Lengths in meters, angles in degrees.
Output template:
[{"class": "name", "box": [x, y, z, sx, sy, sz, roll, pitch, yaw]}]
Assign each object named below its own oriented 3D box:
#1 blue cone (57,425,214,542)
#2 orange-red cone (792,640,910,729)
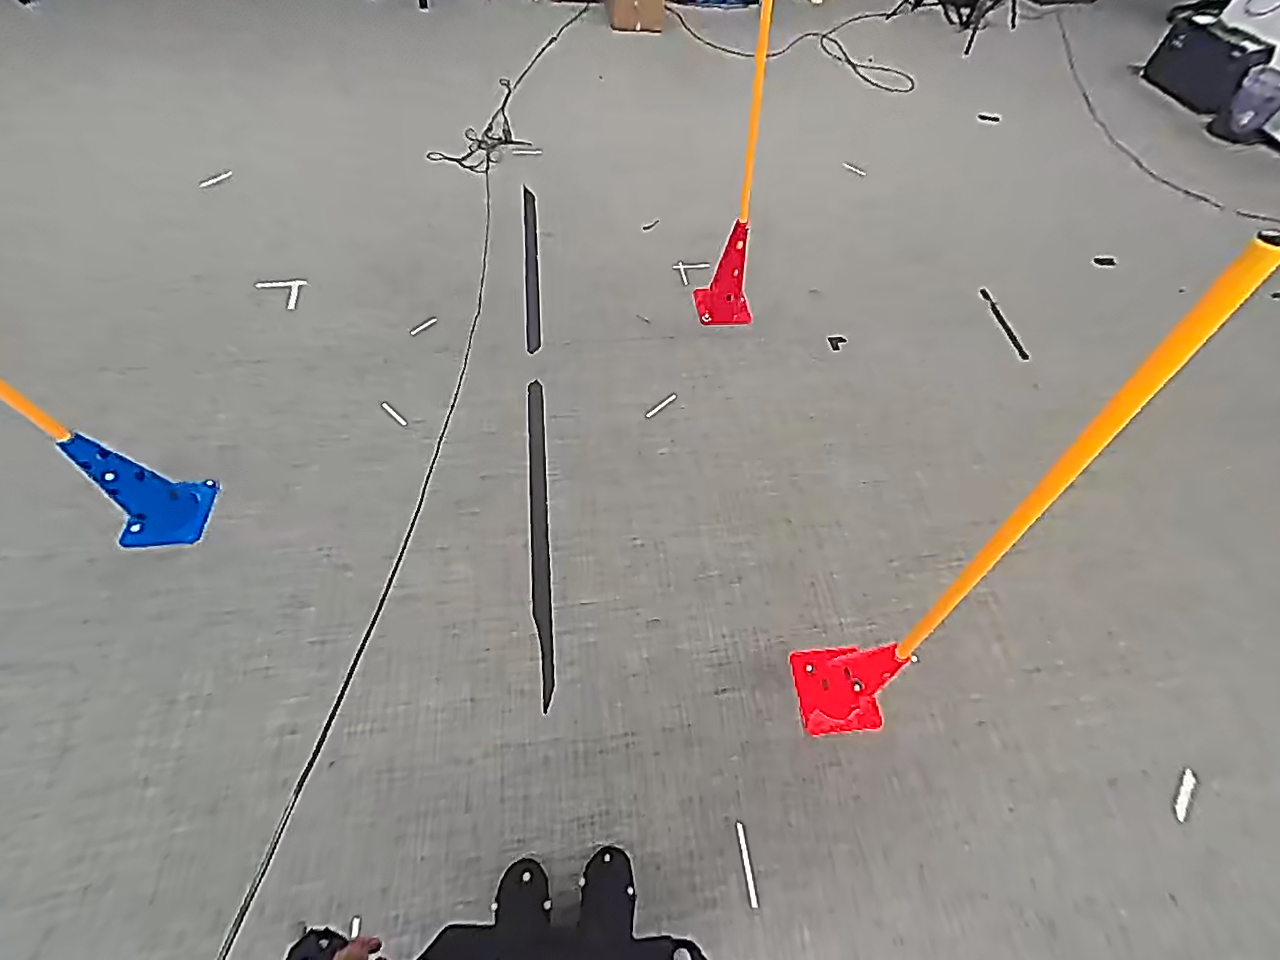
[{"class": "blue cone", "box": [-1.291, -0.002, 1.356, 0.193, 0.380, 0.192, -2, 58, -6]}, {"class": "orange-red cone", "box": [0.500, 0.423, 1.204, 0.198, 0.360, 0.199, -2, 59, -5]}]
